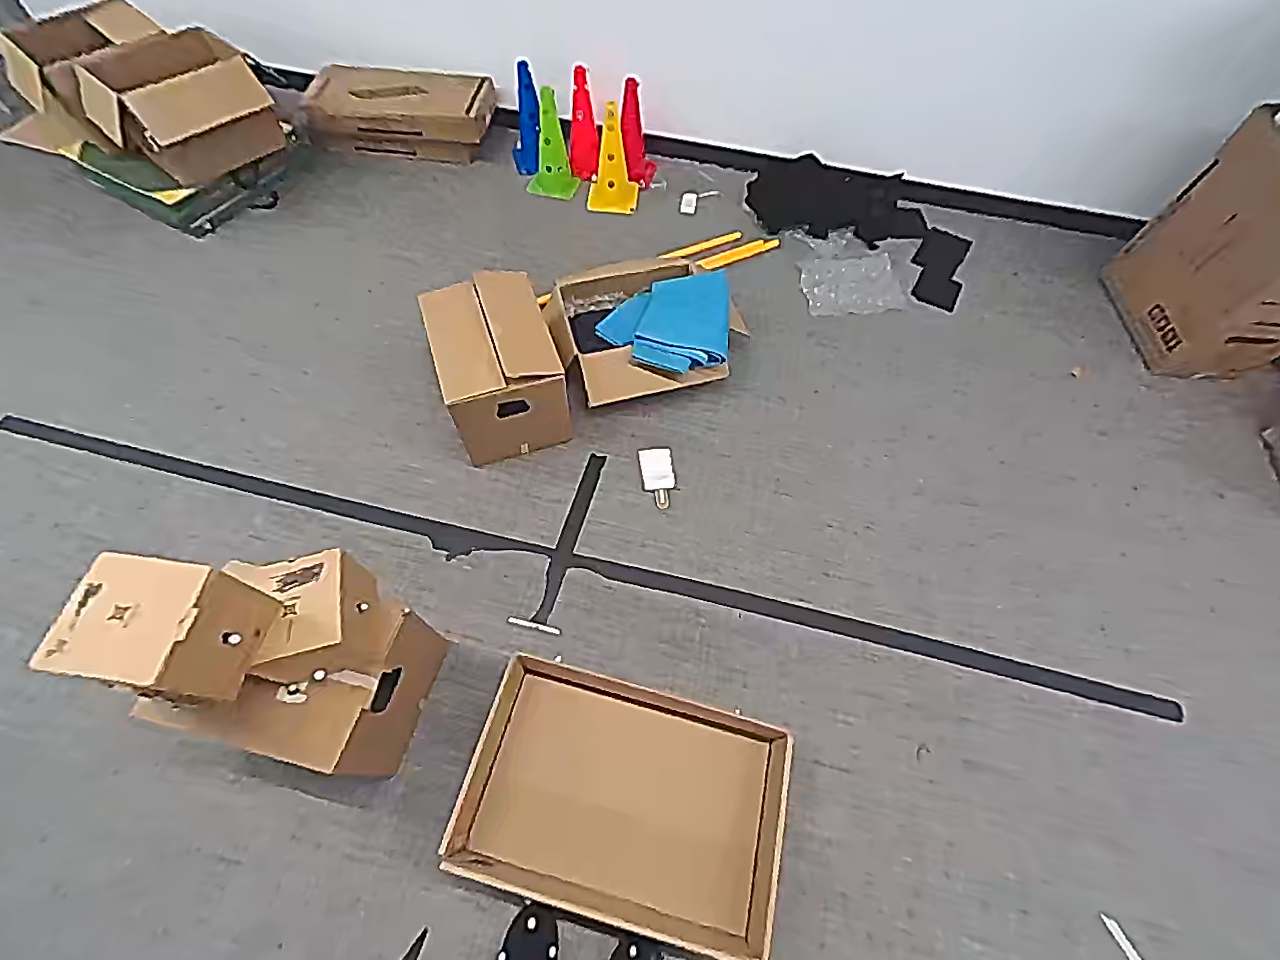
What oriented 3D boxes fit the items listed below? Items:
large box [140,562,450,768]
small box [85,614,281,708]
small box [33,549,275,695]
[{"bbox_3d":[-0.693,0.409,1.170,0.408,0.320,0.320,13,62,4],"label":"large box"},{"bbox_3d":[-0.784,0.290,0.955,0.168,0.176,0.179,13,60,3],"label":"small box"},{"bbox_3d":[-0.700,0.219,0.809,0.179,0.176,0.168,8,62,3],"label":"small box"}]
